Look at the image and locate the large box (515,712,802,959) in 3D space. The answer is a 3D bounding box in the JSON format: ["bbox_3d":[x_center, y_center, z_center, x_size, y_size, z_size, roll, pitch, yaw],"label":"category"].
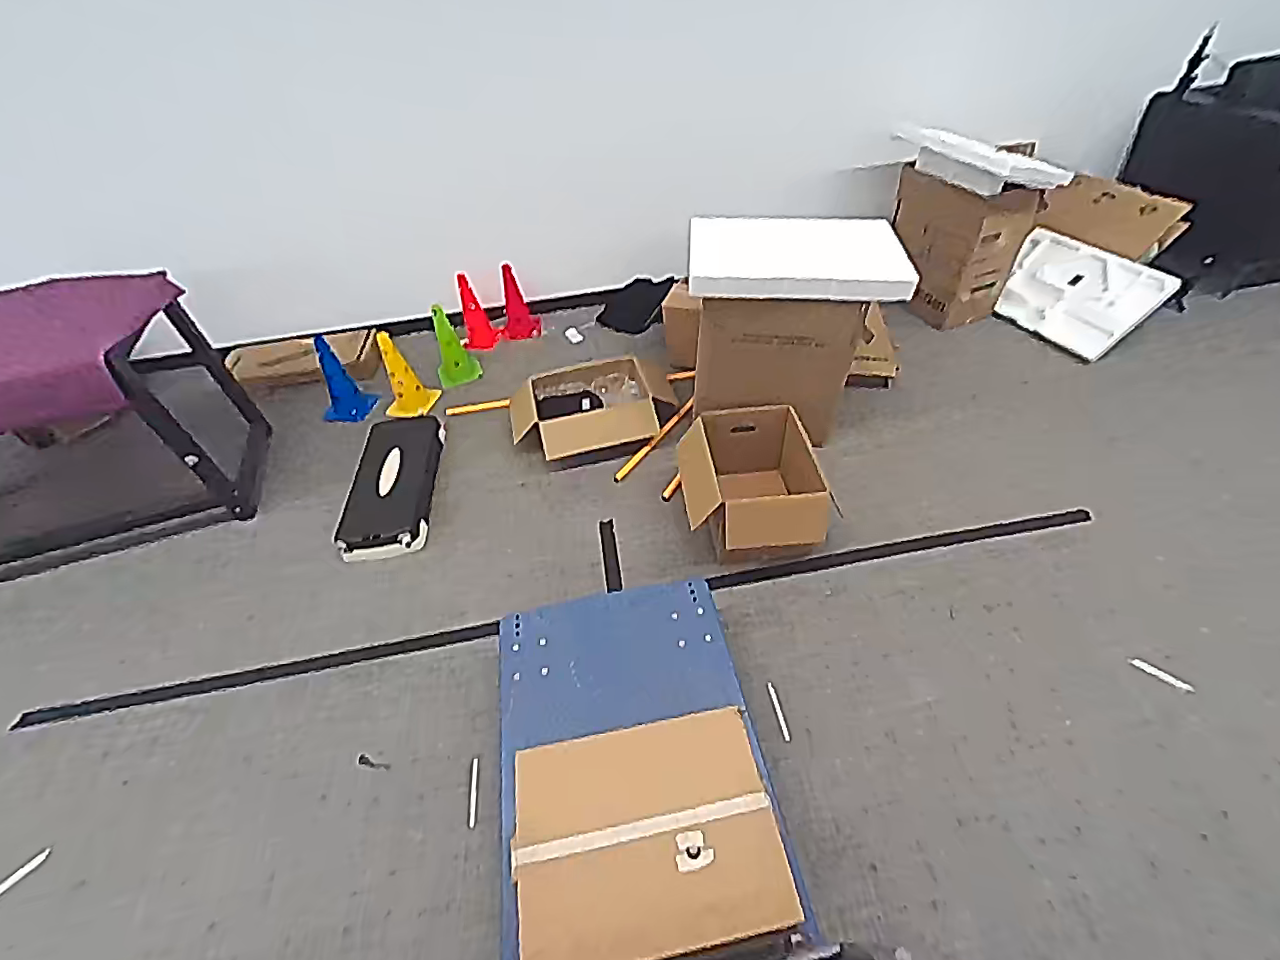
[{"bbox_3d":[0.014,0.658,0.948,0.408,0.320,0.320,-9,47,-6],"label":"large box"}]
